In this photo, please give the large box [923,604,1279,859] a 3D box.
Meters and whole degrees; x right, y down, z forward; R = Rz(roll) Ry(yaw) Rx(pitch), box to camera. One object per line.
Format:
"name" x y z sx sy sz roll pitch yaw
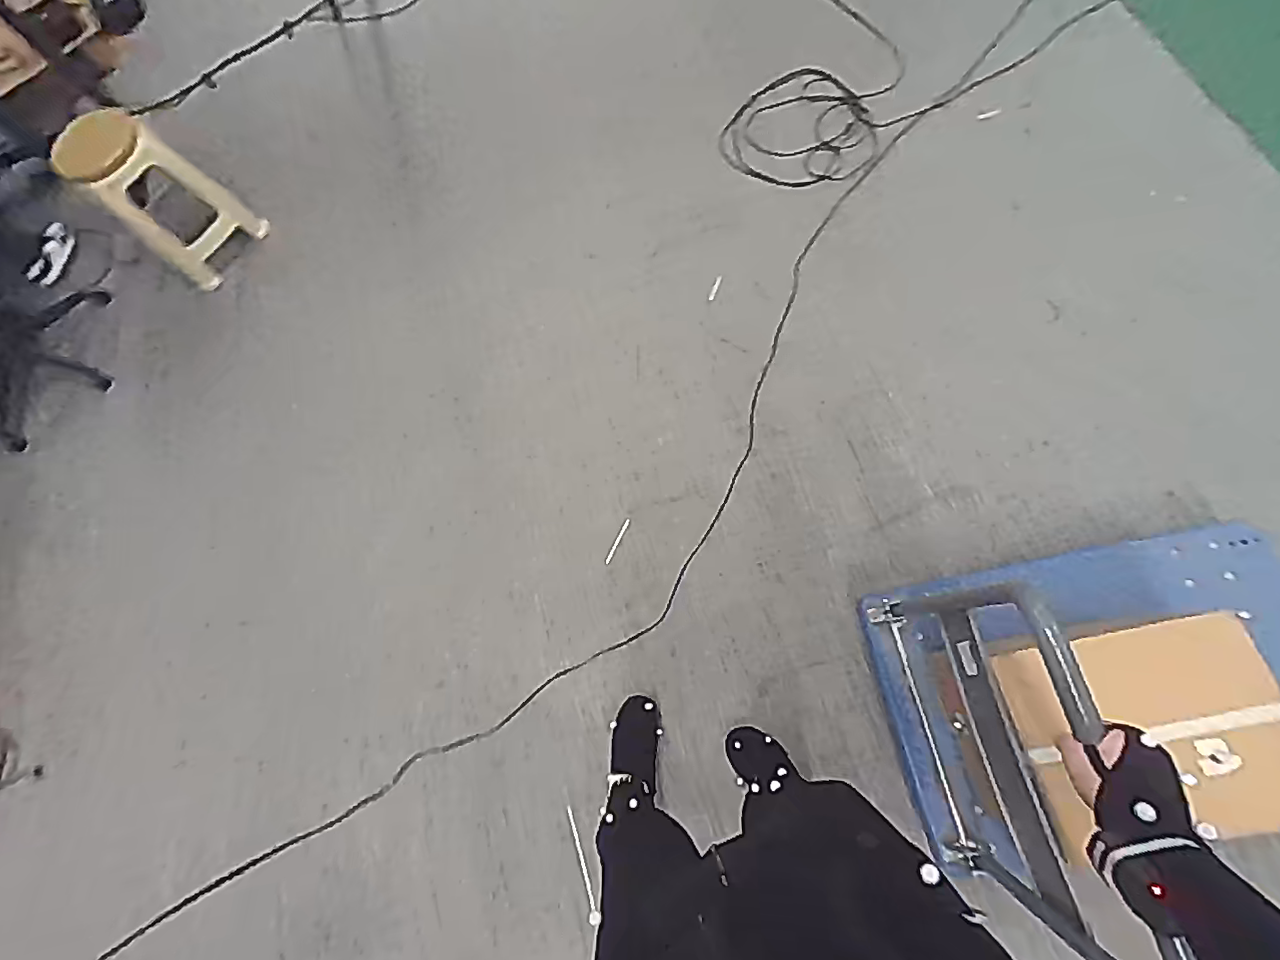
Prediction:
"large box" 0.832 0.443 1.011 0.408 0.320 0.320 -14 72 4
